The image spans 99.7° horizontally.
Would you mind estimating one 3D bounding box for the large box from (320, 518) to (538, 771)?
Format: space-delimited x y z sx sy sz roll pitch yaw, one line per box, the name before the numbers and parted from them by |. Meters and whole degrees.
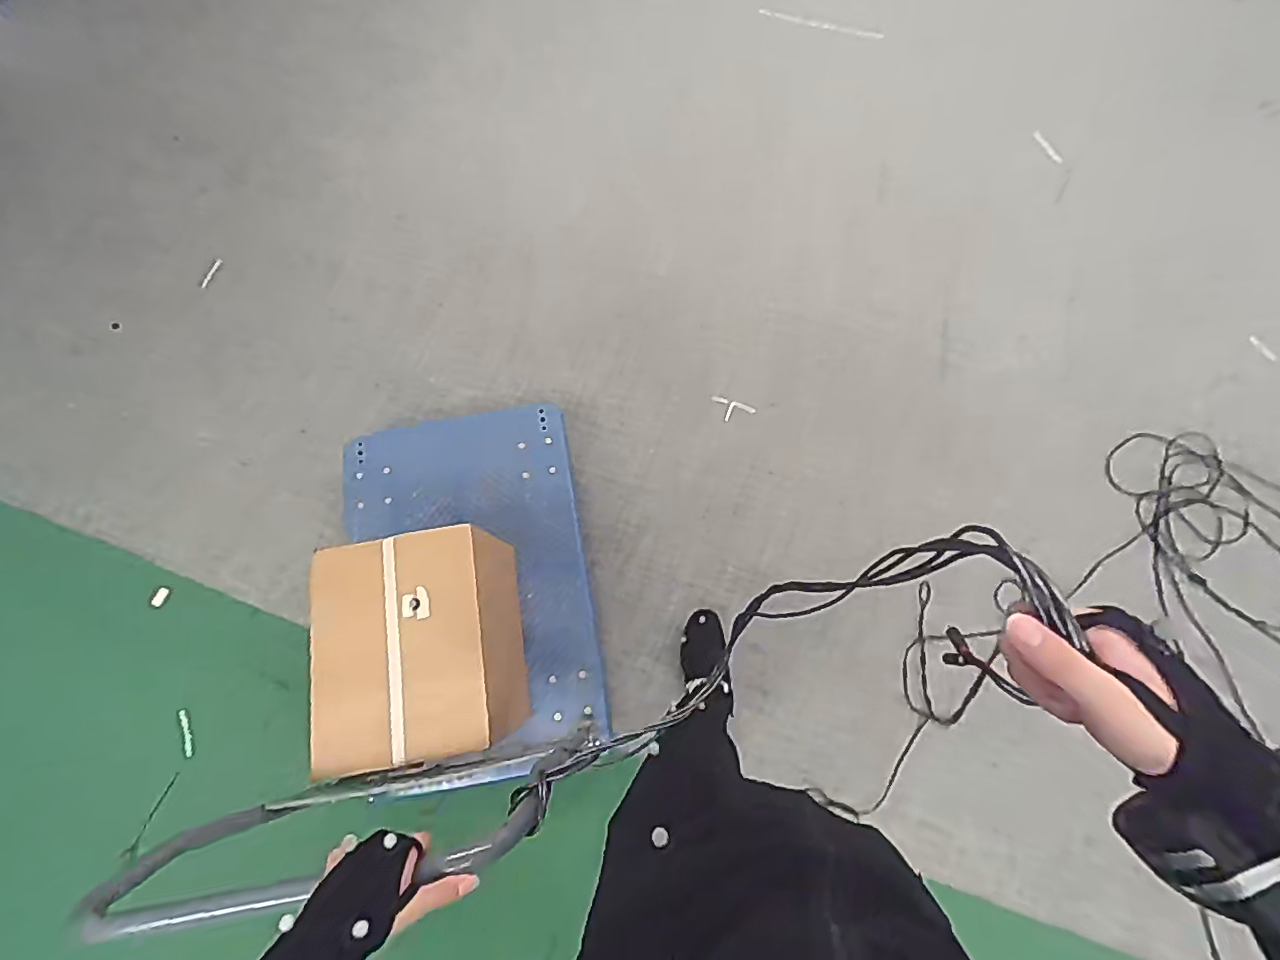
large box | -0.421 0.331 1.130 0.320 0.320 0.408 -11 73 -1
